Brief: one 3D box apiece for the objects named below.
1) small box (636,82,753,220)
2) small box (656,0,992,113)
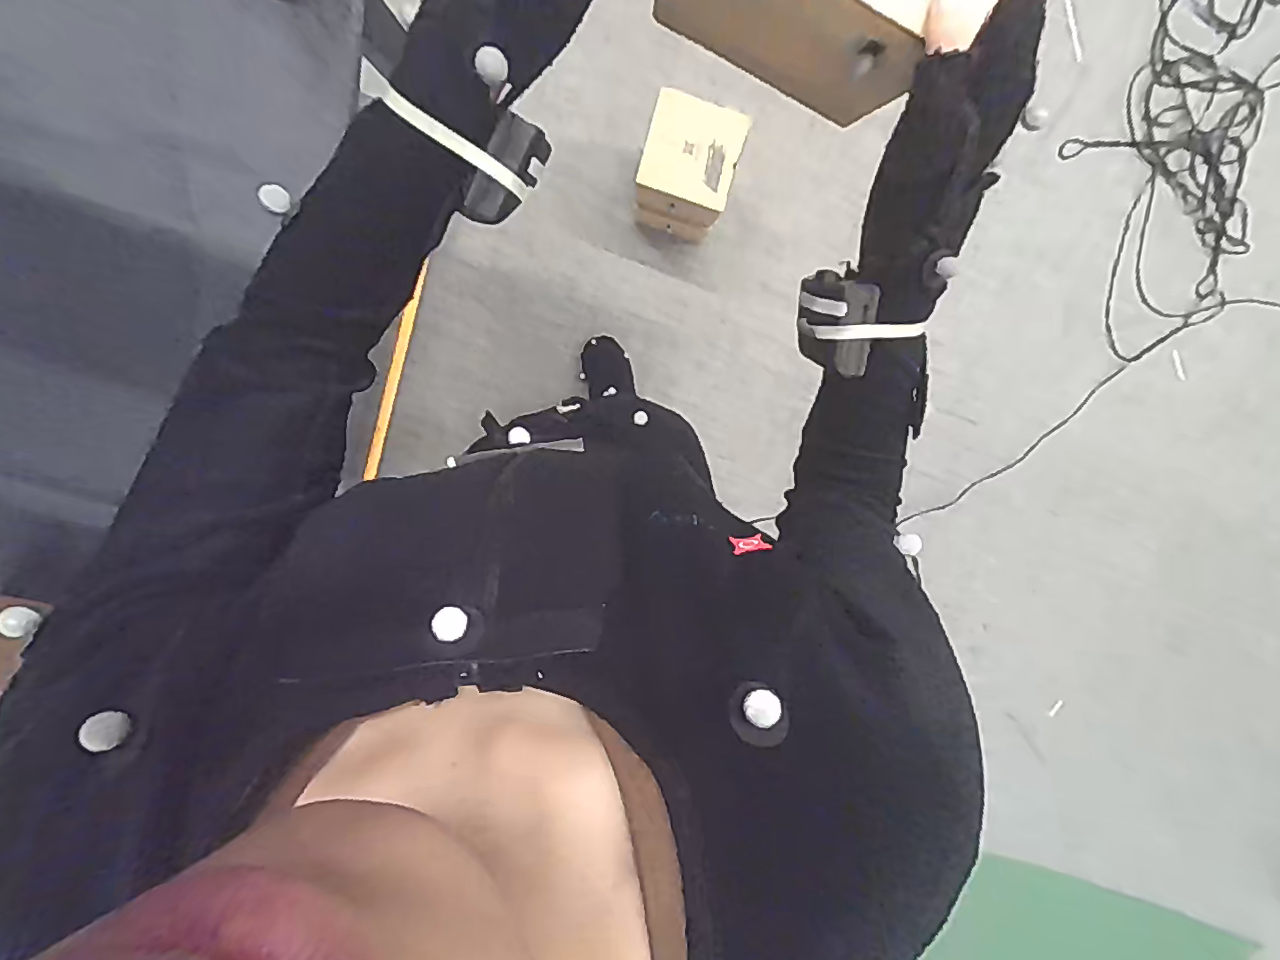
[{"bbox_3d":[0.097,-0.626,1.056,0.179,0.176,0.168,17,105,-5],"label":"small box"},{"bbox_3d":[0.116,-0.344,0.308,0.179,0.176,0.168,22,113,-10],"label":"small box"}]
